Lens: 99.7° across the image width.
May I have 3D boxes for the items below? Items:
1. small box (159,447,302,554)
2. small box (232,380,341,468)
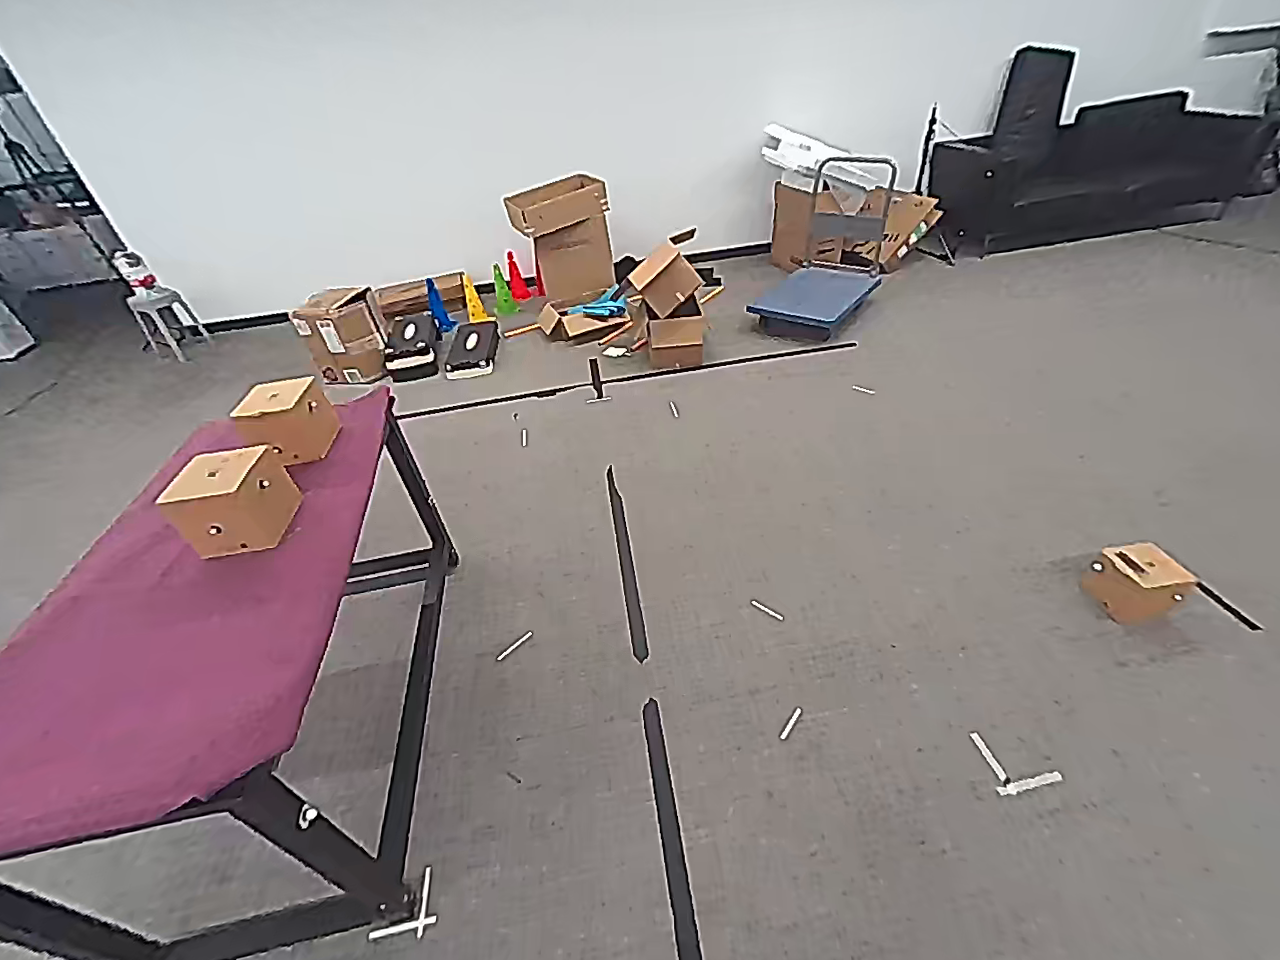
[{"bbox_3d":[-0.904,0.052,1.218,0.168,0.176,0.179,-8,38,-2],"label":"small box"},{"bbox_3d":[-0.953,-0.152,1.481,0.168,0.176,0.179,-9,39,-1],"label":"small box"}]
